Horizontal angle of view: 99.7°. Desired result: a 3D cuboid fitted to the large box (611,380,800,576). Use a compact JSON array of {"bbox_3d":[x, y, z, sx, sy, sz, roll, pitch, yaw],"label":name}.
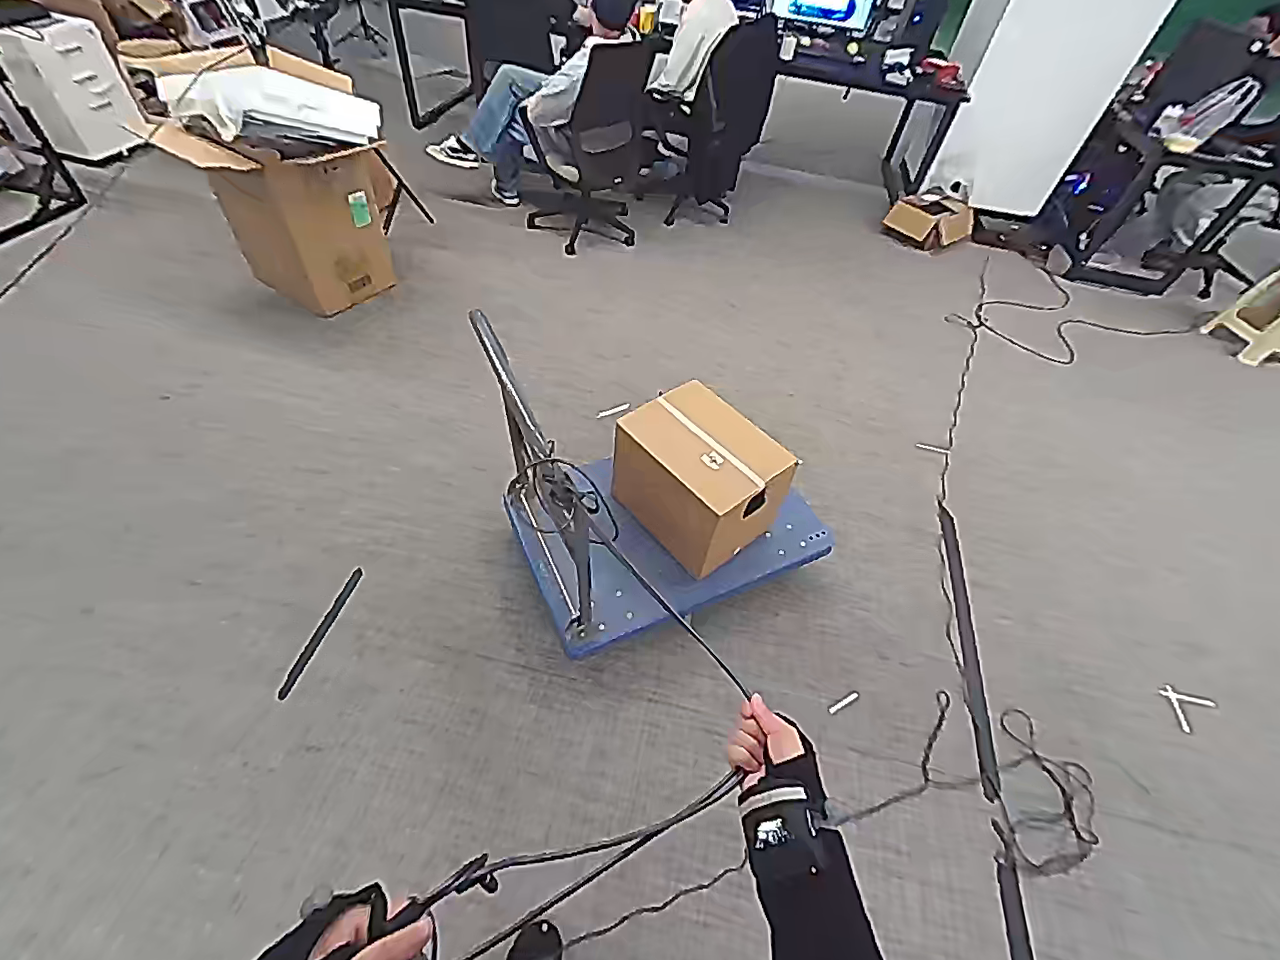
[{"bbox_3d":[0.164,-0.010,1.547,0.320,0.320,0.408,-31,61,-27],"label":"large box"}]
